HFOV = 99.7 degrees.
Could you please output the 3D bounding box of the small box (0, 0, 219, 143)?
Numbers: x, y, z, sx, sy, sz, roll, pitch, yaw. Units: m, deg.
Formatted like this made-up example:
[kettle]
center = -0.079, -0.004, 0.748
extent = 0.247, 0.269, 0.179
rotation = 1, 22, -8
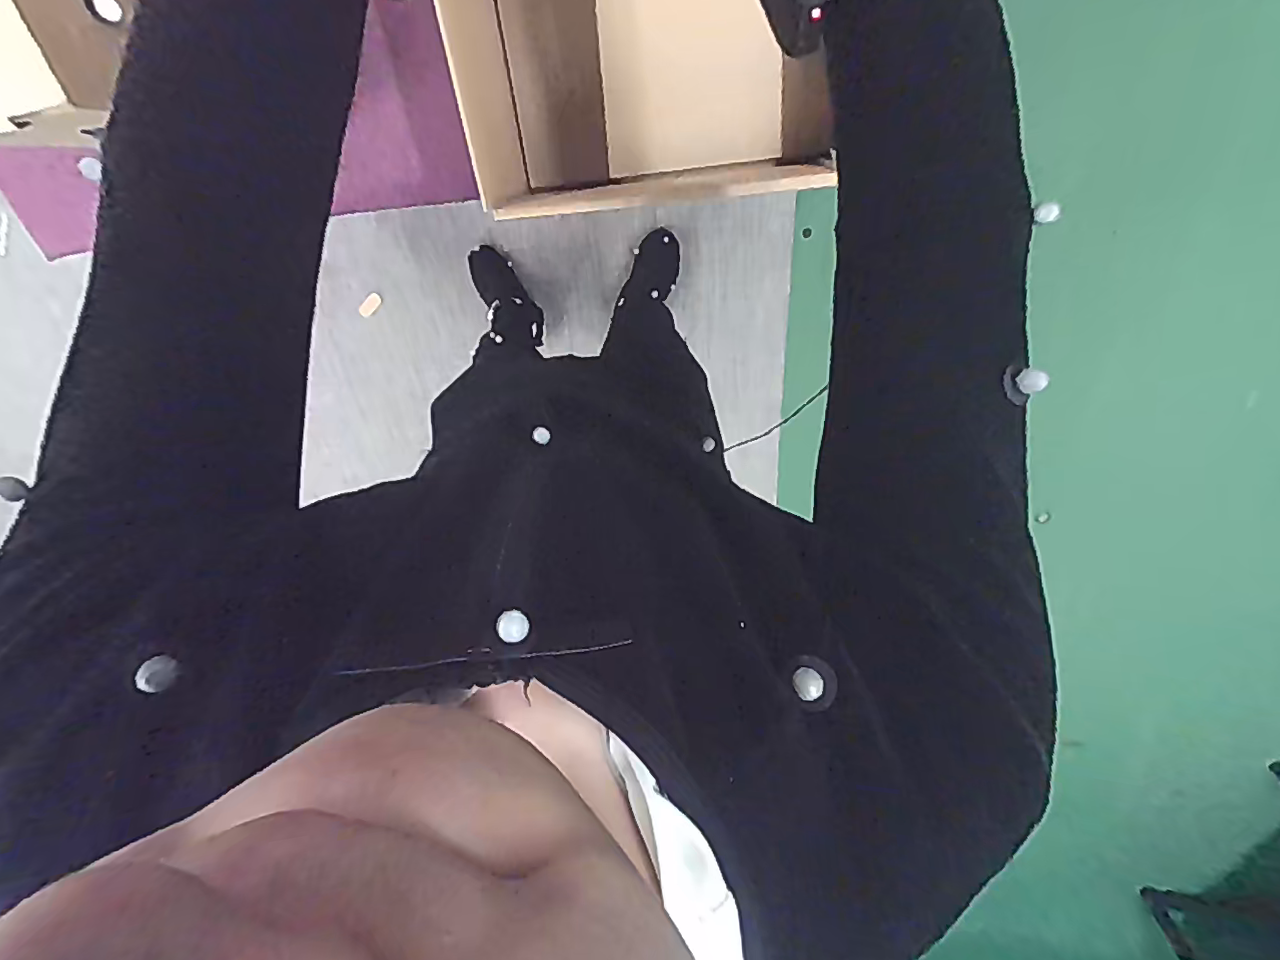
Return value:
[small box]
center = -0.510, -0.387, 0.445
extent = 0.168, 0.176, 0.179
rotation = -4, 120, 7
